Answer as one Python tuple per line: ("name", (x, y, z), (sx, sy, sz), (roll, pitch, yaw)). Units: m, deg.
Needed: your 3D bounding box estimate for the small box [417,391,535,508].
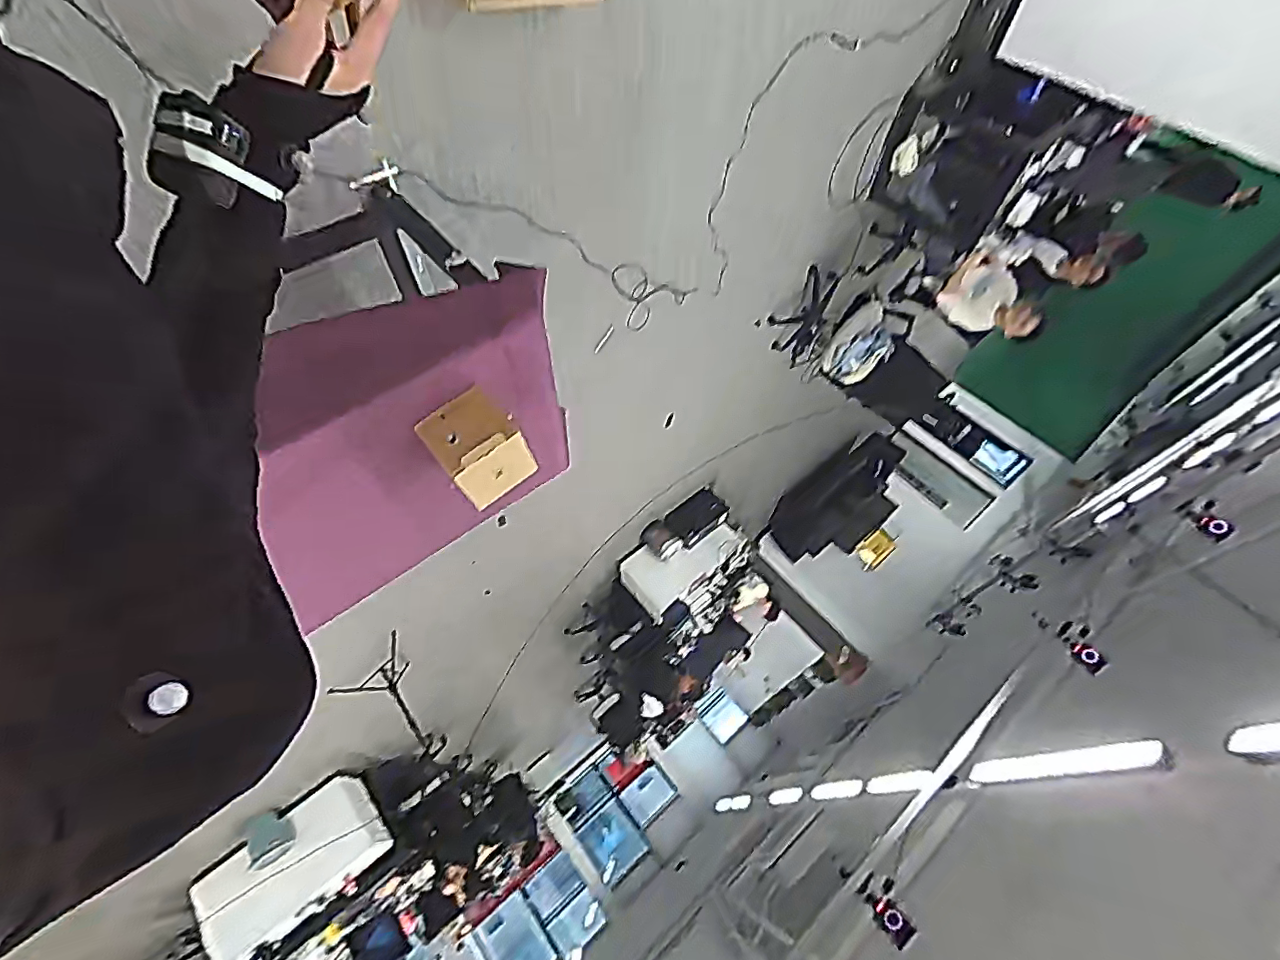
("small box", (-0.366, -0.074, 1.212), (0.168, 0.176, 0.179), (-37, 156, -14))
